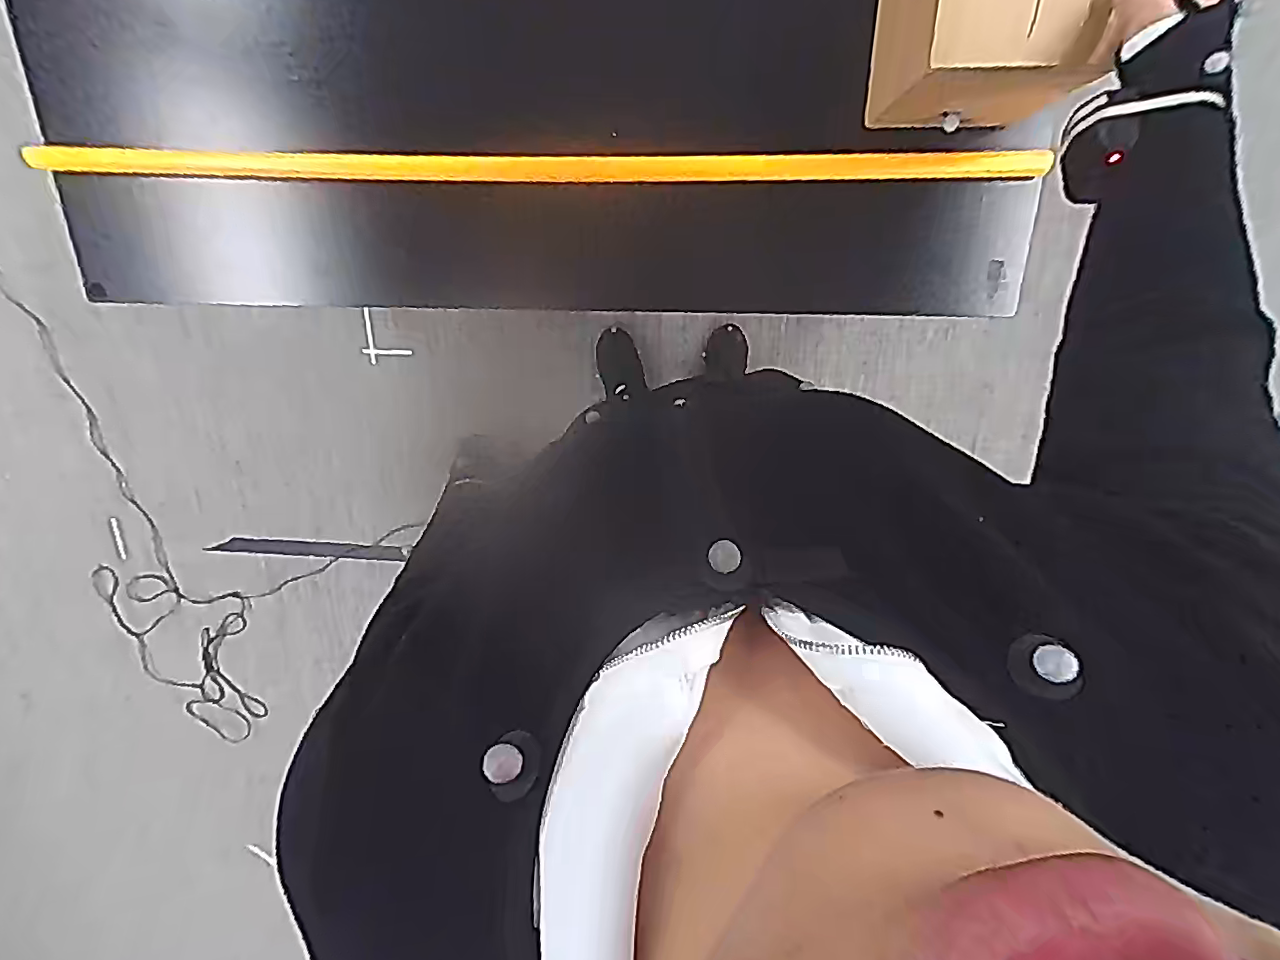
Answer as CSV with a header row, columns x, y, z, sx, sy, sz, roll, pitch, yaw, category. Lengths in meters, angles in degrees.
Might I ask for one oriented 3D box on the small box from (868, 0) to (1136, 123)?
x,y,z,sx,sy,sz,roll,pitch,yaw,category
0.336,-0.471,0.517,0.168,0.176,0.179,2,108,3,small box
